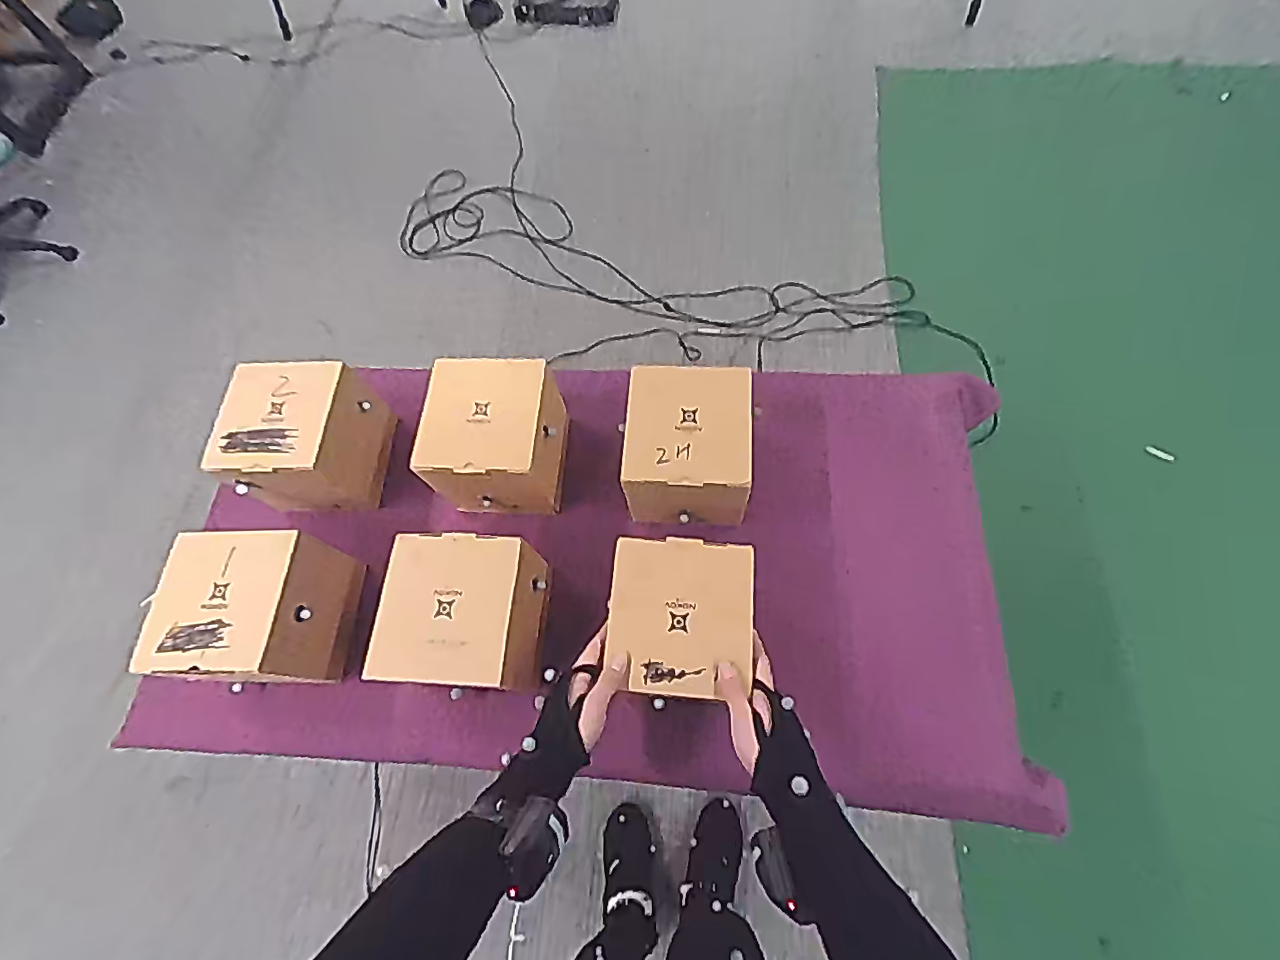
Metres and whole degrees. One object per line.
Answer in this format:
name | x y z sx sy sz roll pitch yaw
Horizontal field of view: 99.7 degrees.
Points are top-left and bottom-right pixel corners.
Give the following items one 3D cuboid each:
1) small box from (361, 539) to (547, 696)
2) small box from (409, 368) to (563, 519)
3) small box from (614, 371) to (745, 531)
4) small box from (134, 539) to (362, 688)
small box | -0.230 0.188 0.720 0.168 0.176 0.179 1 68 7
small box | -0.218 -0.052 0.821 0.168 0.176 0.179 1 69 6
small box | 0.061 -0.038 0.784 0.168 0.176 0.179 2 68 7
small box | -0.515 0.189 0.744 0.168 0.176 0.179 -2 65 5
